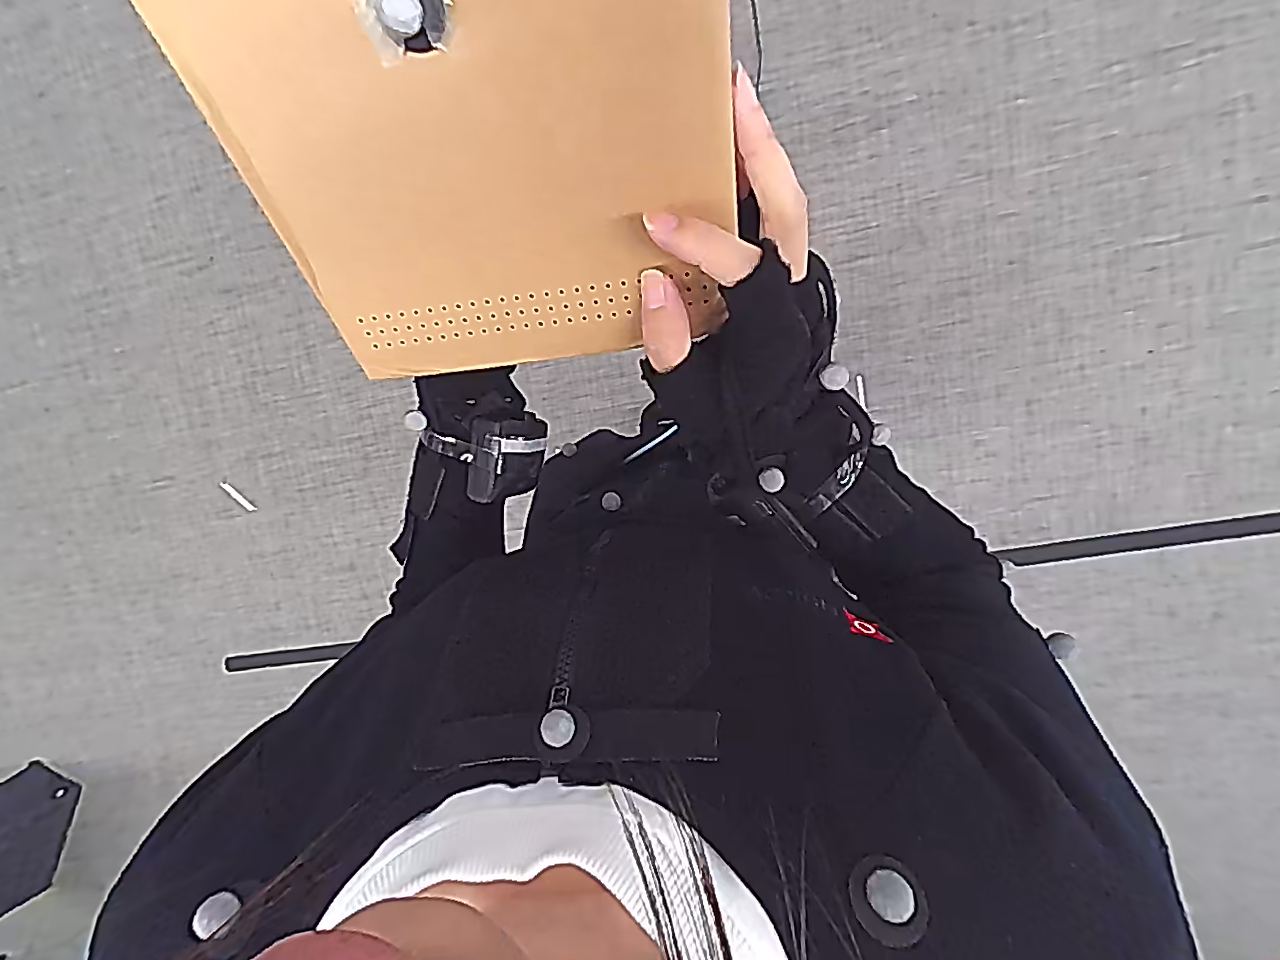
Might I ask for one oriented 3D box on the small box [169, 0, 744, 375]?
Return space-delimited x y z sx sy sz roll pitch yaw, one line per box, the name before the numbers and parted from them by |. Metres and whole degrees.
small box | -0.049 -0.163 0.247 0.179 0.168 0.176 -5 137 9
